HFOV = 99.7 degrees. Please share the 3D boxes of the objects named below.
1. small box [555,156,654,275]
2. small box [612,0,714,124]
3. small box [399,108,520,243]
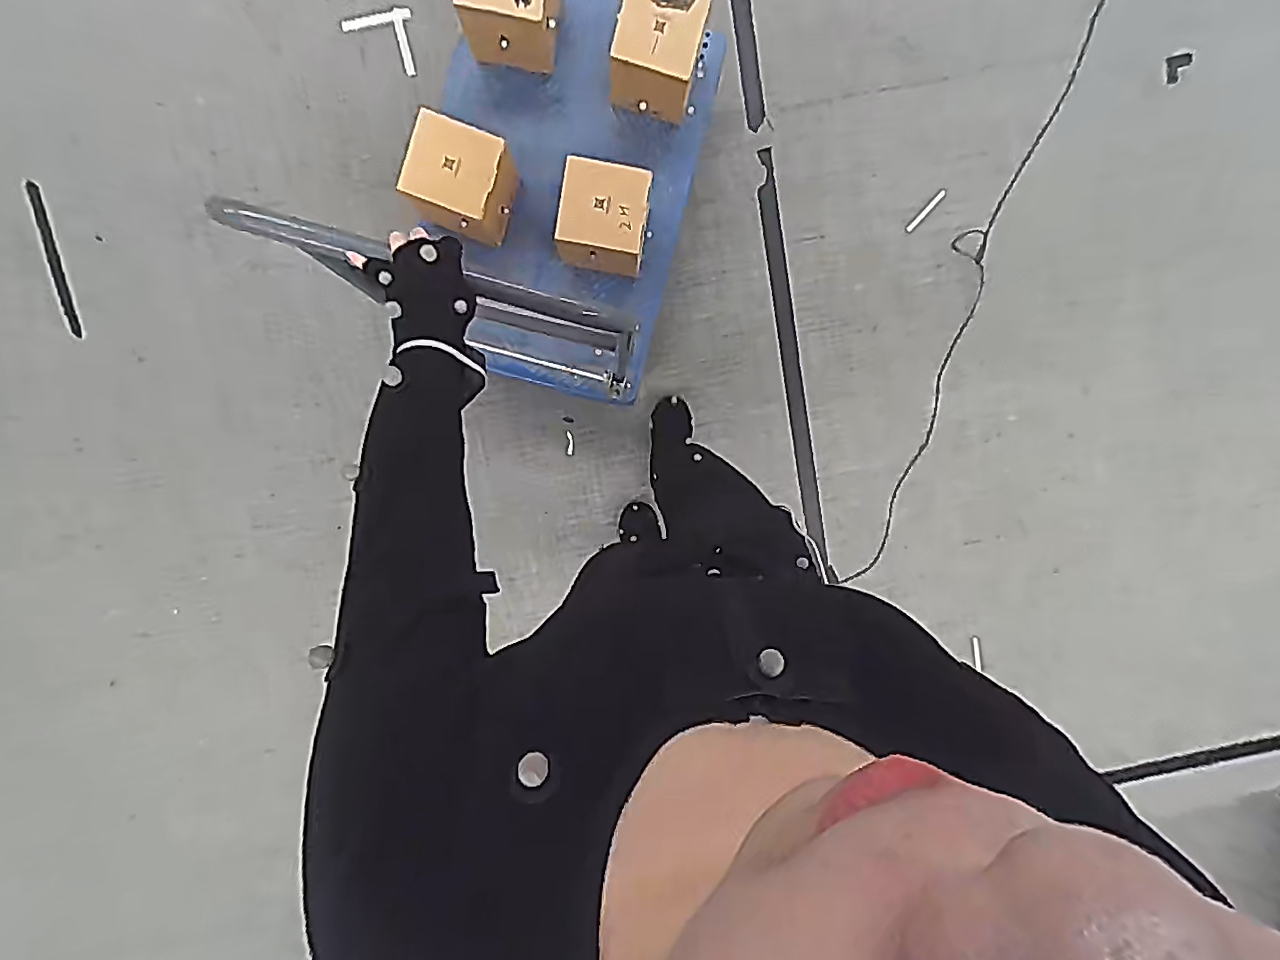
[{"bbox_3d":[-0.074,-0.557,1.159,0.179,0.176,0.168,10,95,-3],"label":"small box"},{"bbox_3d":[0.042,-0.897,1.131,0.168,0.176,0.179,16,96,-3],"label":"small box"},{"bbox_3d":[-0.372,-0.630,1.144,0.179,0.176,0.168,19,95,-5],"label":"small box"}]
